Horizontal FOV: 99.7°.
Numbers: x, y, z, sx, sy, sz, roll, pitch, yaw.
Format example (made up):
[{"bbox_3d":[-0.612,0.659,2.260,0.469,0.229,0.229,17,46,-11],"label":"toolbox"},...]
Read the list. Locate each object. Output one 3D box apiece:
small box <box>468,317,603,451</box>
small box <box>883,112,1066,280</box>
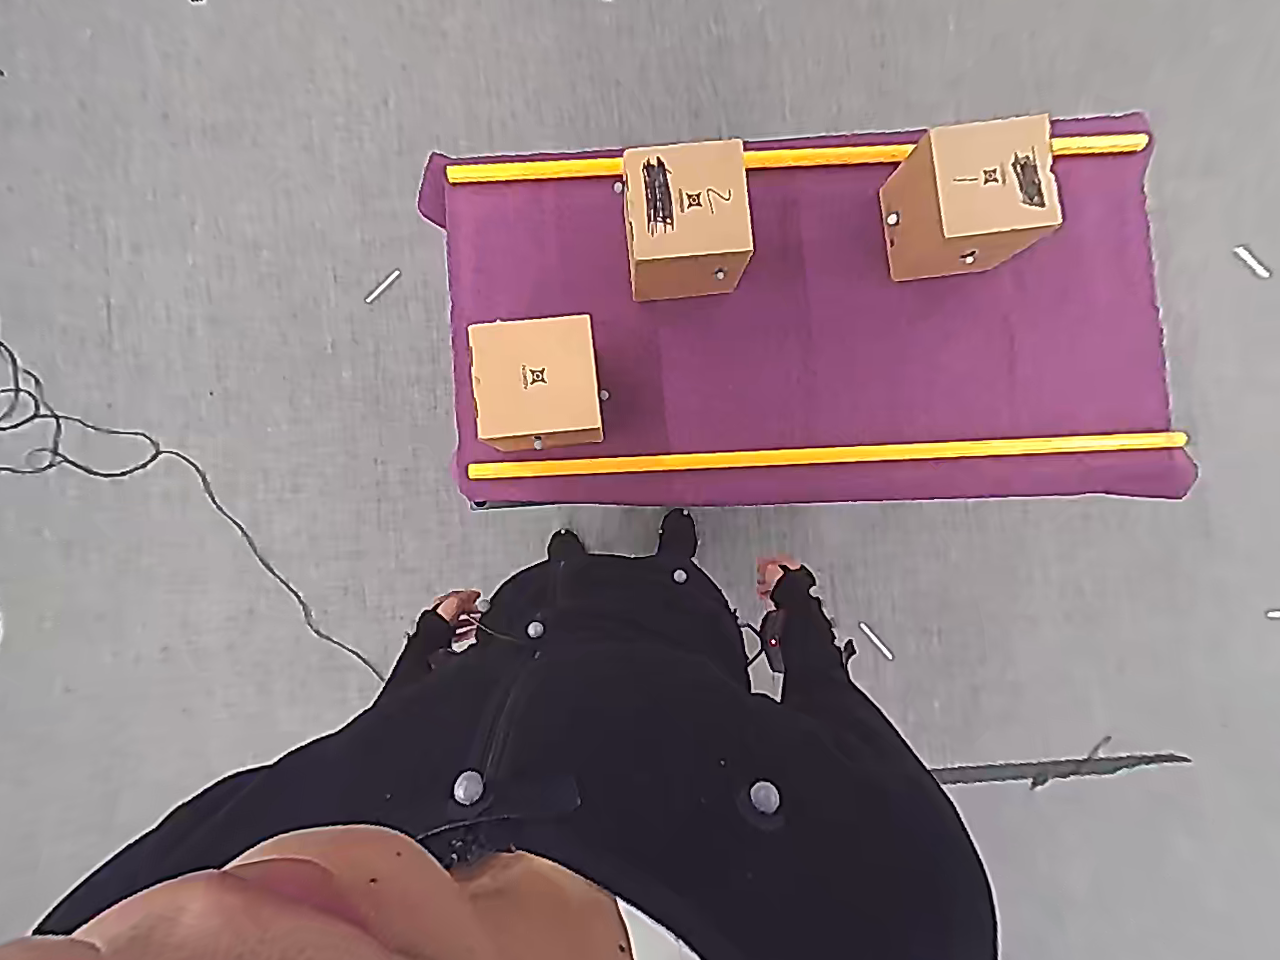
[{"bbox_3d":[-0.150,-0.140,0.837,0.179,0.176,0.168,-6,88,-1],"label":"small box"},{"bbox_3d":[0.511,-0.432,0.848,0.179,0.176,0.168,-7,89,1],"label":"small box"}]
